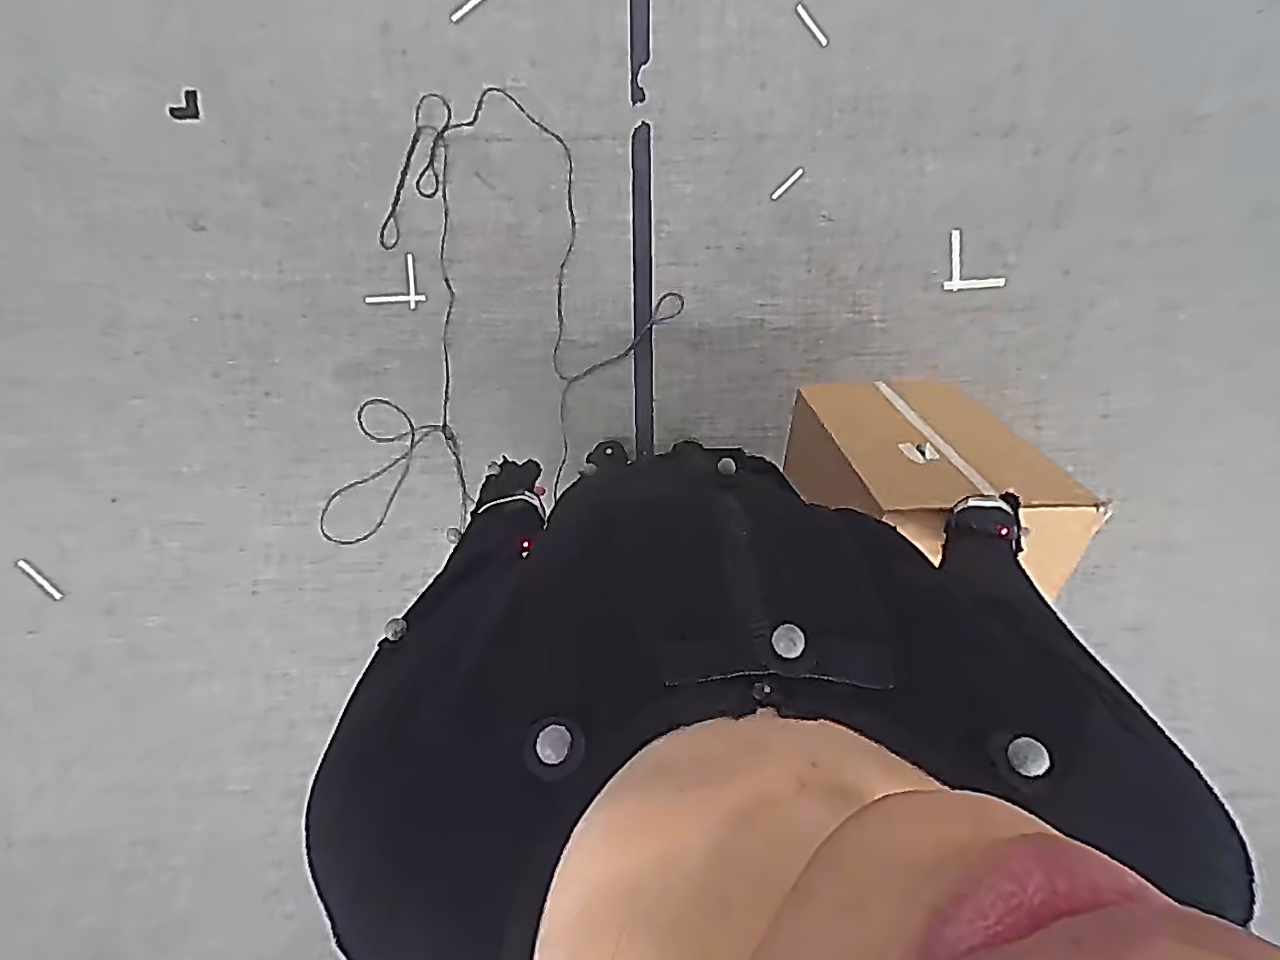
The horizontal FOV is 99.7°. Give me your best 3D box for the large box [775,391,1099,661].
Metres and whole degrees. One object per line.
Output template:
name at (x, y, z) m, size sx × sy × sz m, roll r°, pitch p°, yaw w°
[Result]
large box at (0.468, 0.065, 0.983) m, size 0.320 × 0.408 × 0.320 m, roll -2°, pitch 125°, yaw -3°
